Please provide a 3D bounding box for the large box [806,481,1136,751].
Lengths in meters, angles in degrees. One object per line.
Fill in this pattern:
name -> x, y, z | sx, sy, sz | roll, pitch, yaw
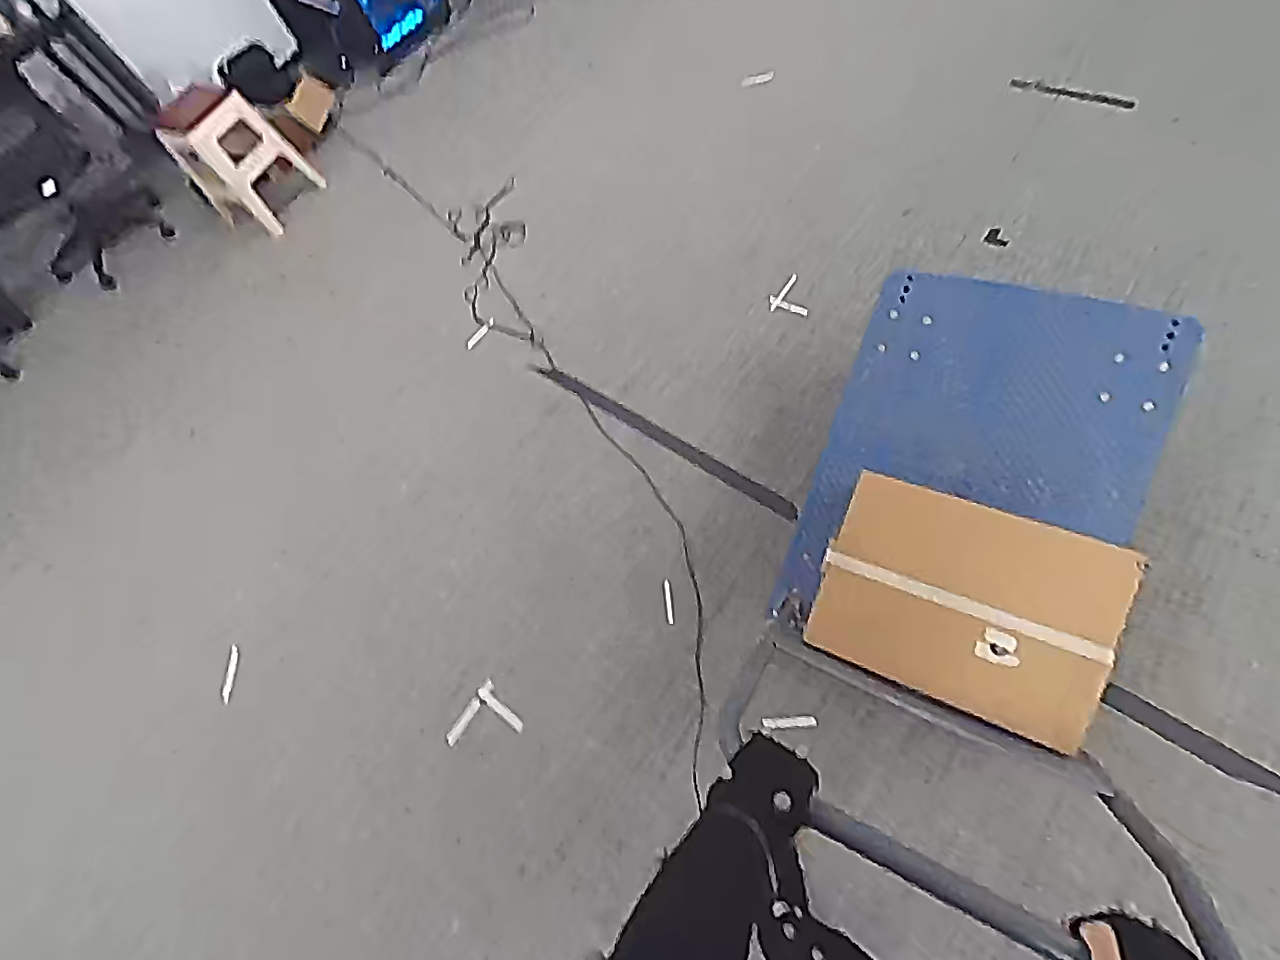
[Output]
large box -> 0.558, 0.217, 1.005 | 0.408, 0.320, 0.320 | 20, 92, 21
